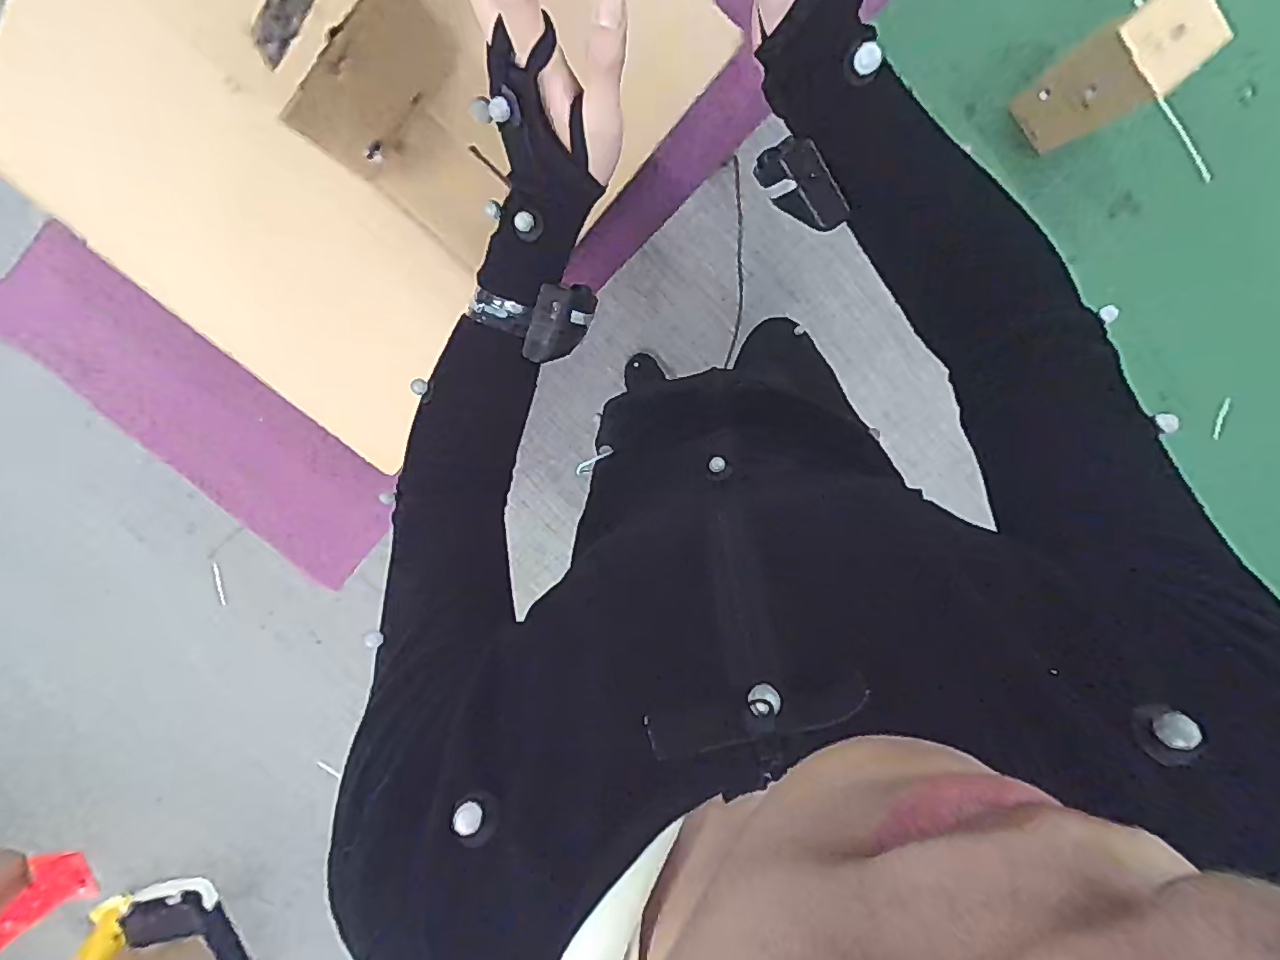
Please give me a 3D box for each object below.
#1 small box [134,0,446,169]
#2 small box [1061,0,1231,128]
[{"bbox_3d":[-0.314,-0.427,0.502,0.179,0.176,0.168,41,98,-9],"label":"small box"},{"bbox_3d":[1.073,-0.913,1.162,0.179,0.176,0.168,-41,100,8],"label":"small box"}]
